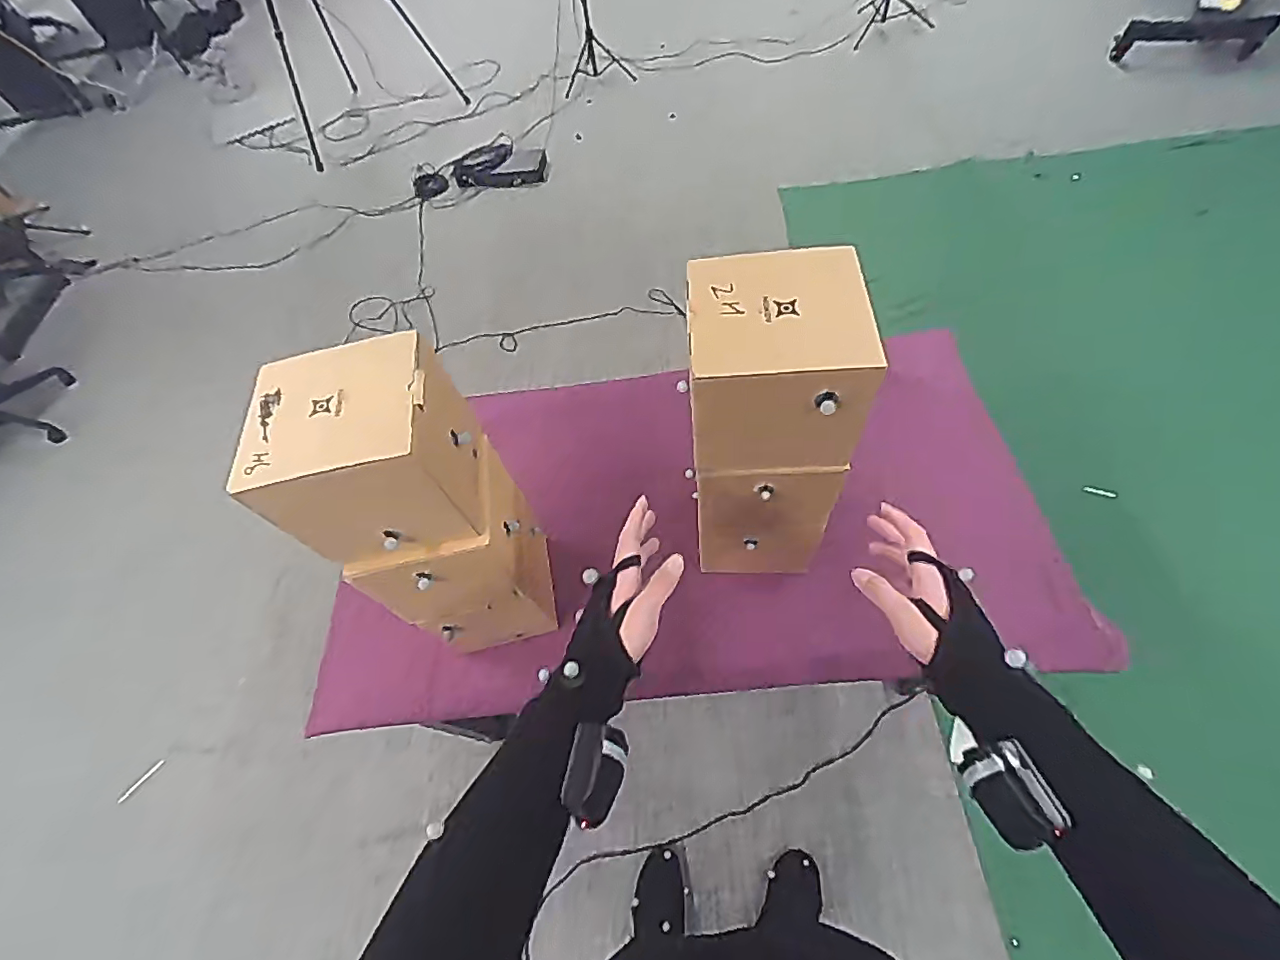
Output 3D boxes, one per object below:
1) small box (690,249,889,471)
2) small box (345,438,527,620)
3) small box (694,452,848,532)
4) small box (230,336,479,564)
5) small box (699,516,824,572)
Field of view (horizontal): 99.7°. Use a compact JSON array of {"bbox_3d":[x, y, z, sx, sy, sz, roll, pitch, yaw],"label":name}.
[{"bbox_3d":[0.144,-0.121,0.590,0.179,0.176,0.168,-2,60,7],"label":"small box"},{"bbox_3d":[-0.256,0.071,0.722,0.179,0.176,0.168,-13,58,1],"label":"small box"},{"bbox_3d":[0.164,-0.036,0.730,0.179,0.176,0.168,-1,60,7],"label":"small box"},{"bbox_3d":[-0.286,-0.025,0.592,0.179,0.176,0.168,-12,57,1],"label":"small box"},{"bbox_3d":[0.185,0.043,0.870,0.179,0.176,0.168,0,60,7],"label":"small box"}]
